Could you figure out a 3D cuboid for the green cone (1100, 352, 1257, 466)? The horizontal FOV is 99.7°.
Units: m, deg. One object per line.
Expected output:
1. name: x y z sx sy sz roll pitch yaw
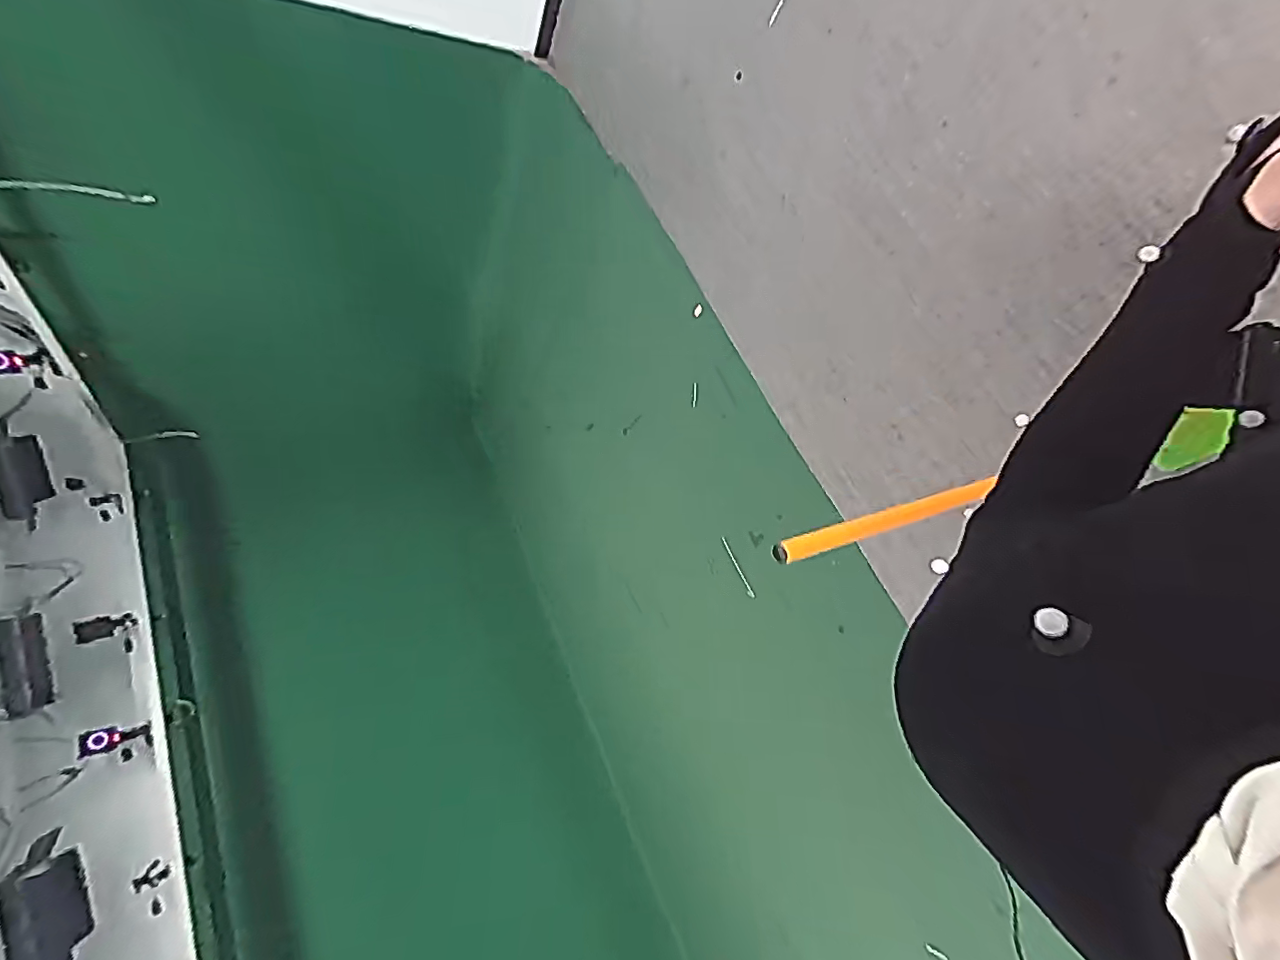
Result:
1. green cone: 1.053 -0.117 1.114 0.202 0.368 0.200 63 145 16
